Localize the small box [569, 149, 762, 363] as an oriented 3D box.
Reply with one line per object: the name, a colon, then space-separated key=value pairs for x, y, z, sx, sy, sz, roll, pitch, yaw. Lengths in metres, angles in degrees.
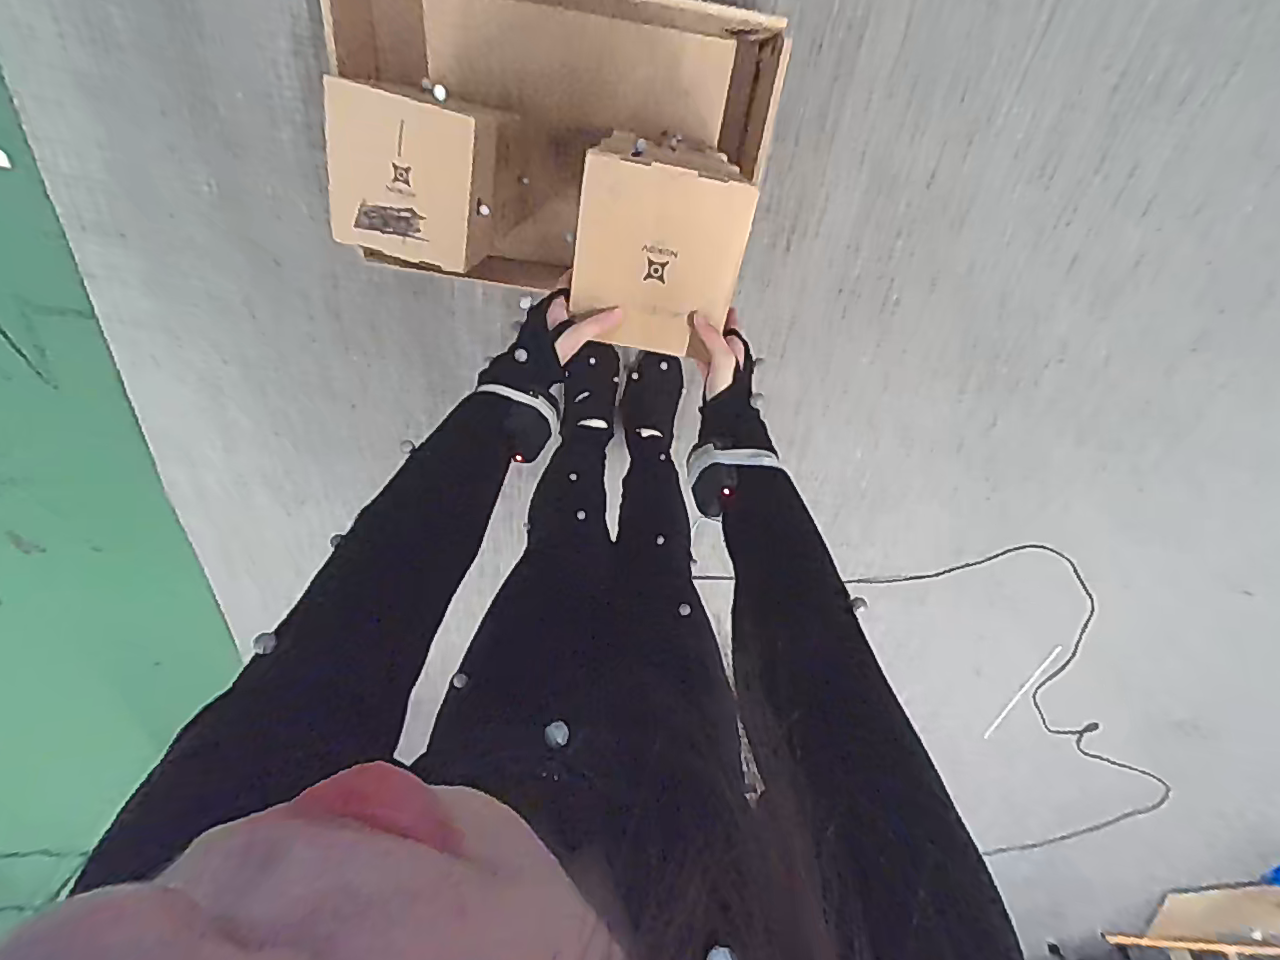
small box: x=0.020 y=-0.257 z=0.610 sx=0.168 sy=0.176 sz=0.179 roll=10 pitch=123 yaw=-5

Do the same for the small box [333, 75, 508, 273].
small box: x=-0.278 y=-0.399 z=0.713 sx=0.168 sy=0.176 sz=0.179 roll=12 pitch=122 yaw=-8
